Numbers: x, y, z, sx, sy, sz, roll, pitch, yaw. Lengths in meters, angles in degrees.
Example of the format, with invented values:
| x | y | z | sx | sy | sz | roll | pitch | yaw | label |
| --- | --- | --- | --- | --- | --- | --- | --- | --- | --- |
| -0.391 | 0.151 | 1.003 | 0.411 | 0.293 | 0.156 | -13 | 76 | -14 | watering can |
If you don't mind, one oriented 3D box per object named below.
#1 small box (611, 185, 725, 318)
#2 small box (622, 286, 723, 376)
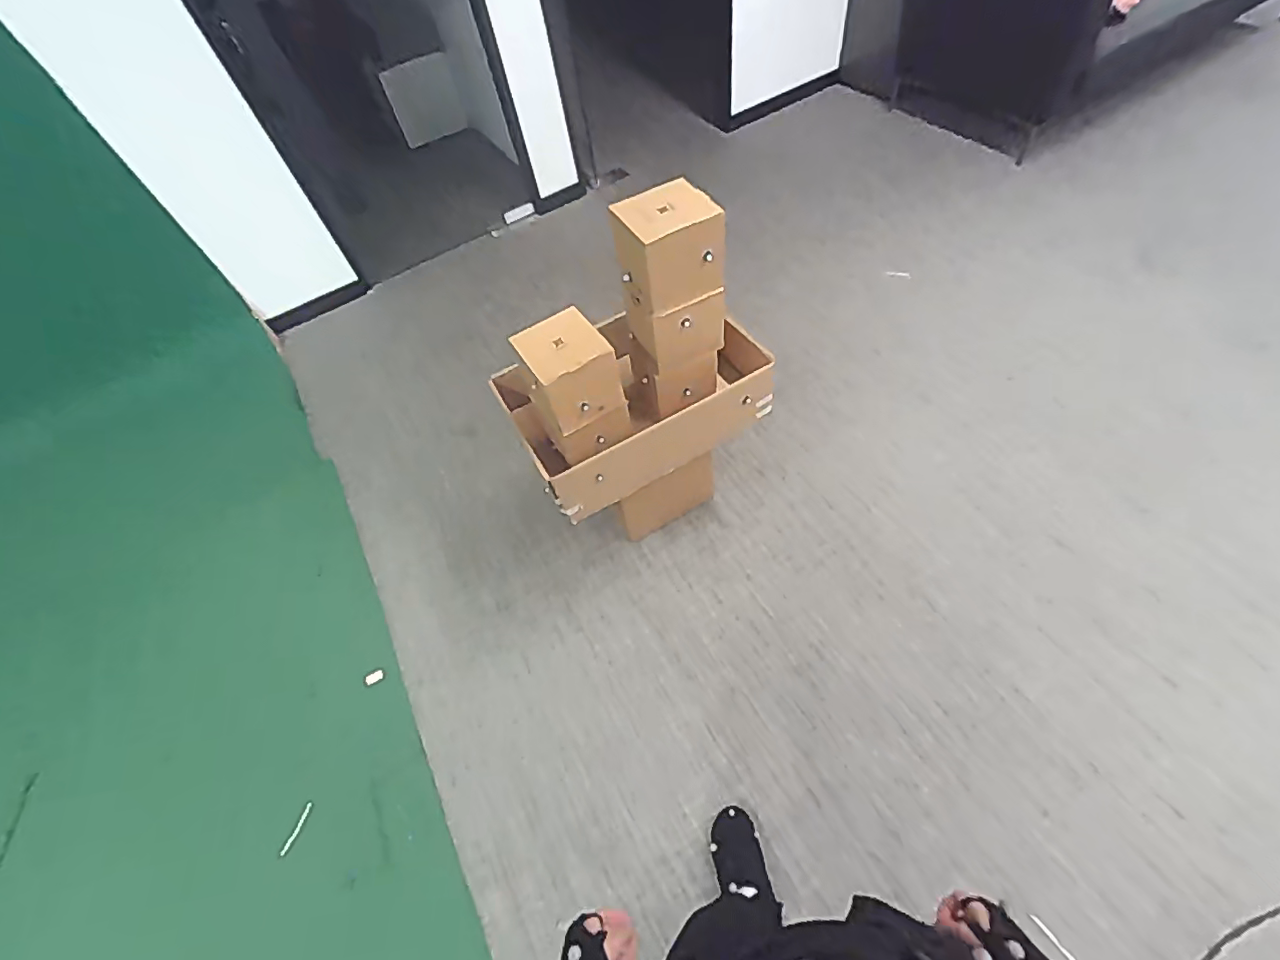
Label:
| x | y | z | sx | sy | sz | roll | pitch | yaw | label |
| --- | --- | --- | --- | --- | --- | --- | --- | --- | --- |
| 0.060 | -0.472 | 1.125 | 0.179 | 0.176 | 0.168 | -26 | 55 | -9 | small box |
| 0.080 | -0.371 | 1.252 | 0.179 | 0.176 | 0.168 | -25 | 56 | -10 | small box |
